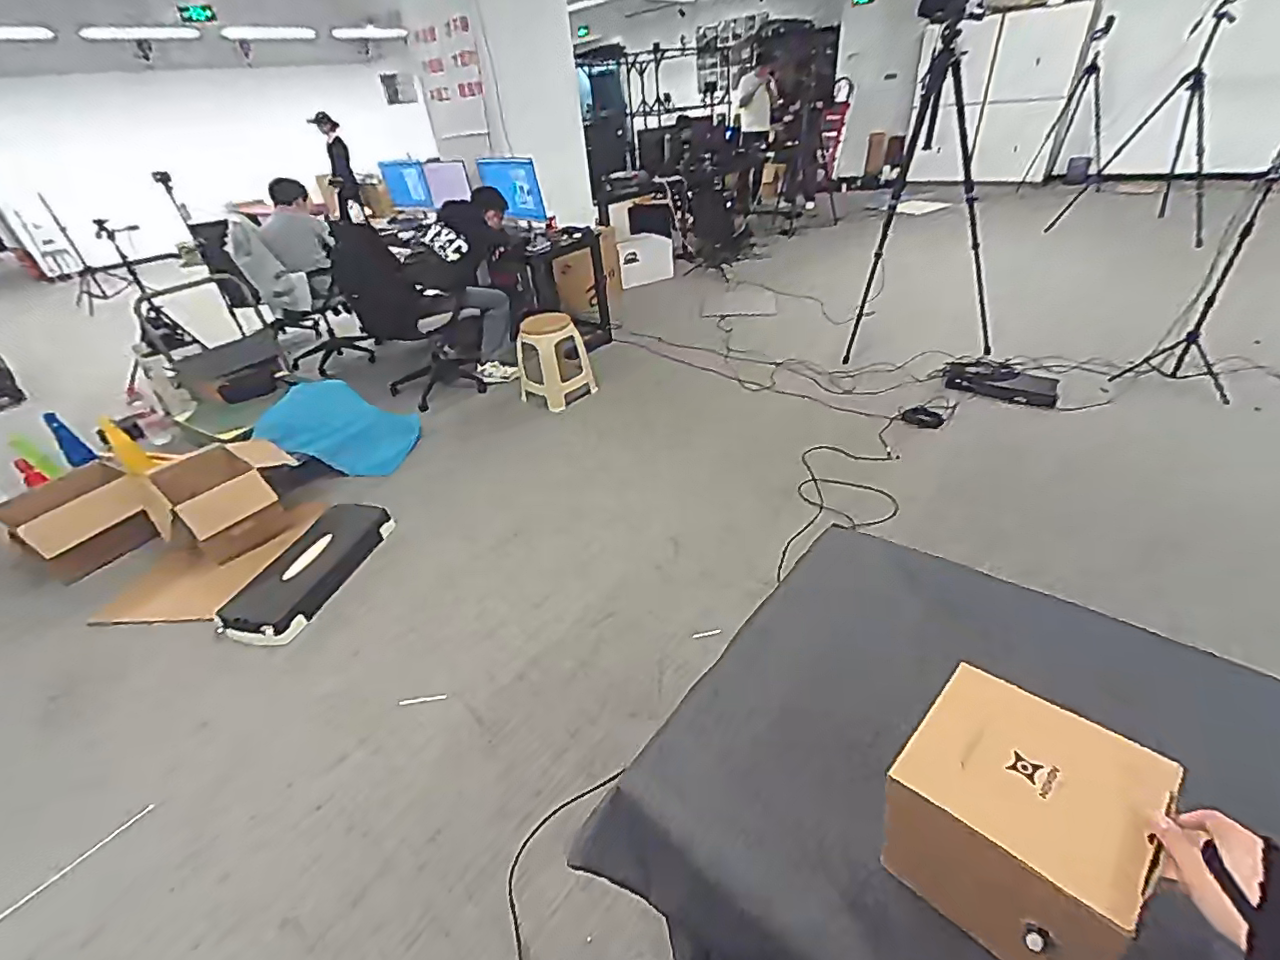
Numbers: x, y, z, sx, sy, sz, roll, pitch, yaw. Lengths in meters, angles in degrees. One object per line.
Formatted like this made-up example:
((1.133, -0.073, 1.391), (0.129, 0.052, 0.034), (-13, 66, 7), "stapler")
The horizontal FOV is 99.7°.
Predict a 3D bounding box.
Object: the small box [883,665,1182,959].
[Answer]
((0.352, 0.321, 0.508), (0.168, 0.176, 0.179), (-31, 32, -31), "small box")
